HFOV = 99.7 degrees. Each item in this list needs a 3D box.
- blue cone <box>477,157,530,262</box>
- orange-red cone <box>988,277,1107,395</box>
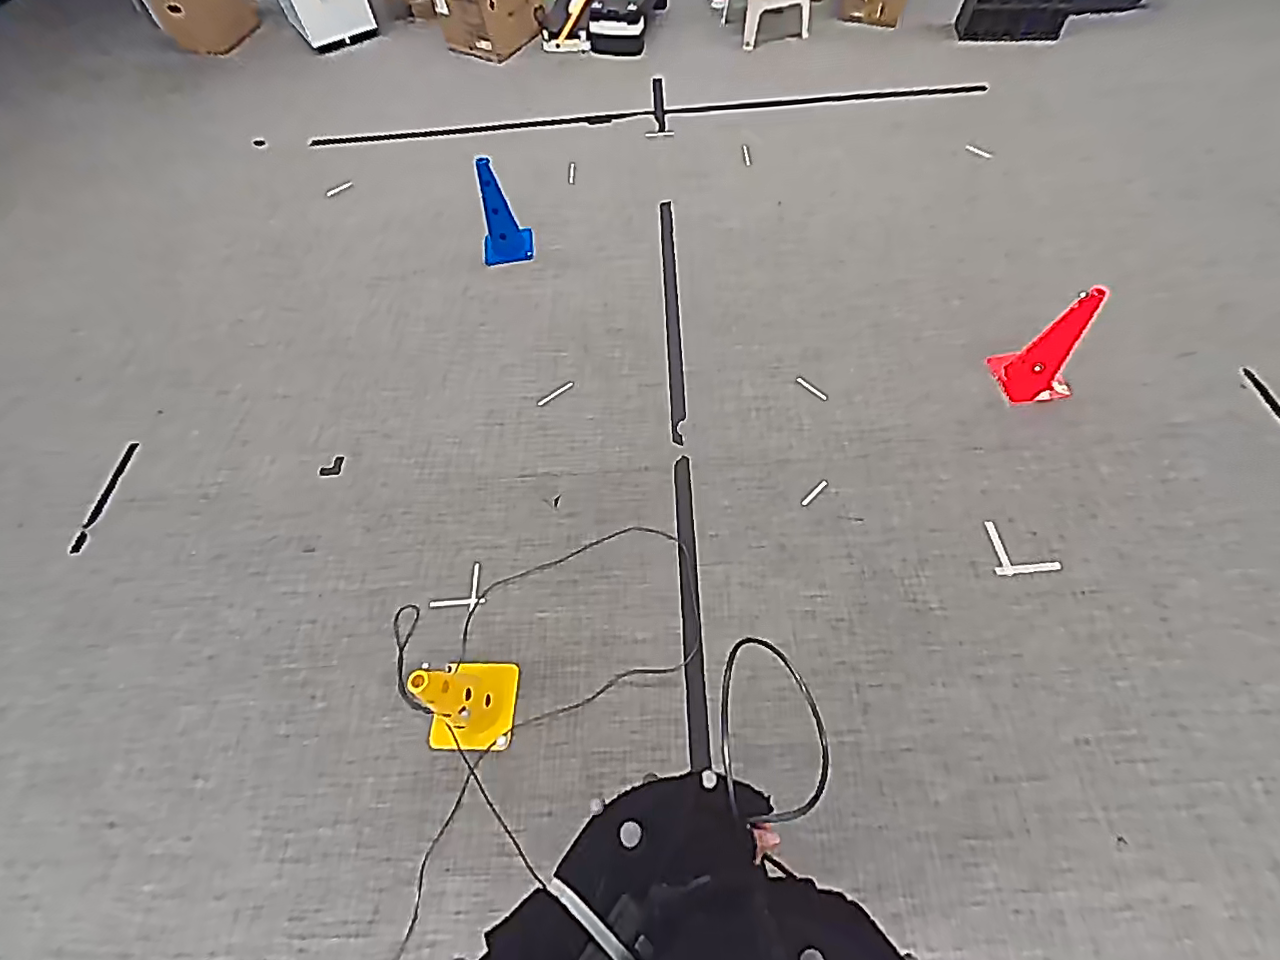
[{"bbox_3d":[-0.559,-1.046,2.078,0.192,0.380,0.193,-8,60,0],"label":"blue cone"},{"bbox_3d":[1.242,-0.445,1.600,0.198,0.360,0.199,-7,59,0],"label":"orange-red cone"}]
